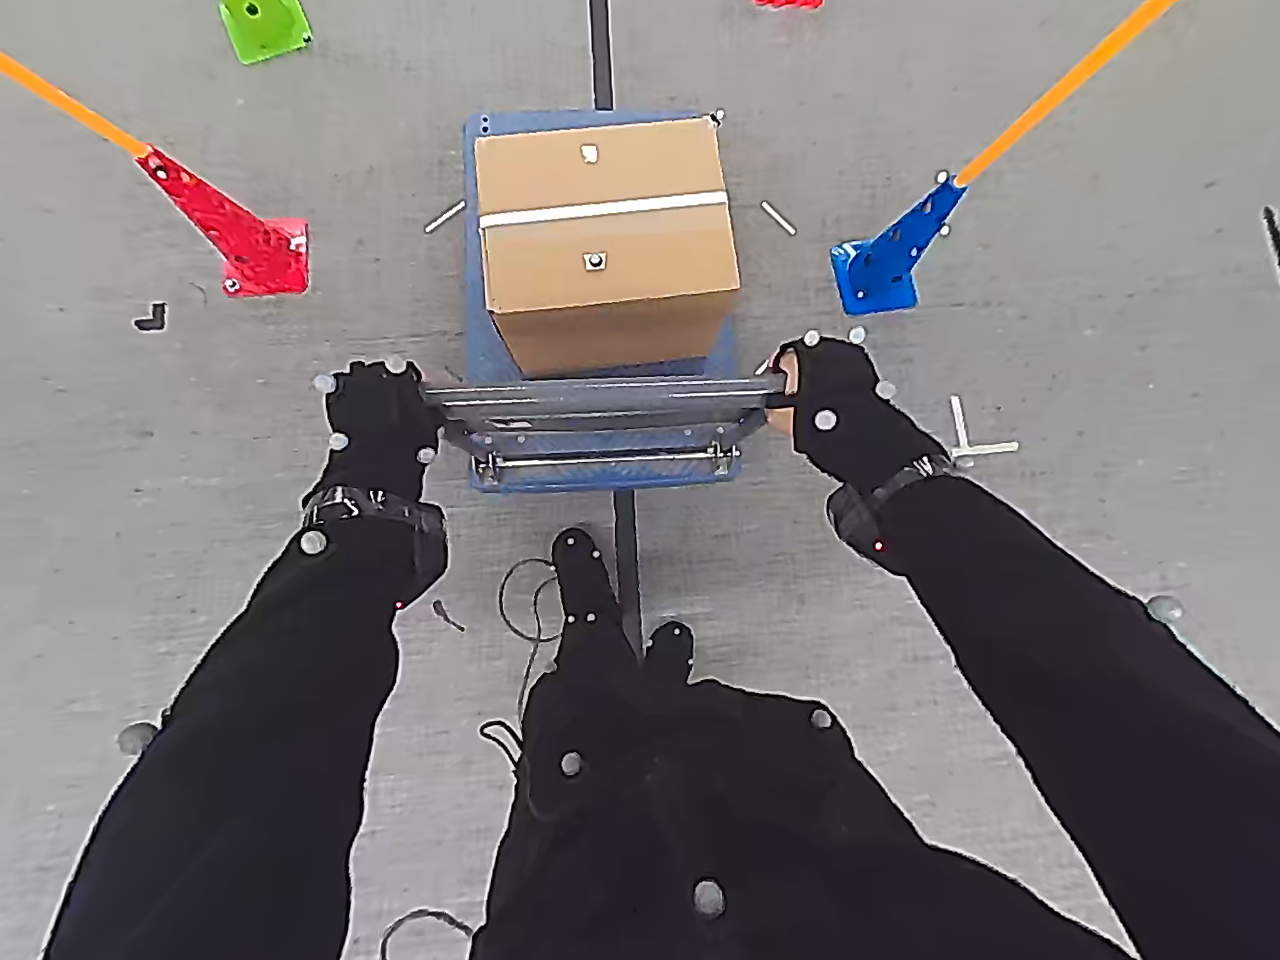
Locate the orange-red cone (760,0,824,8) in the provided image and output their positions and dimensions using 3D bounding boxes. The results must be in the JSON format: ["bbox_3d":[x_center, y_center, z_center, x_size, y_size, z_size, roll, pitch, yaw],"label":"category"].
[{"bbox_3d":[0.435,-1.452,1.360,0.199,0.360,0.198,3,82,-3],"label":"orange-red cone"}]

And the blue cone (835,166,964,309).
[{"bbox_3d":[0.623,-0.567,1.254,0.193,0.380,0.192,-7,81,-4],"label":"blue cone"}]
